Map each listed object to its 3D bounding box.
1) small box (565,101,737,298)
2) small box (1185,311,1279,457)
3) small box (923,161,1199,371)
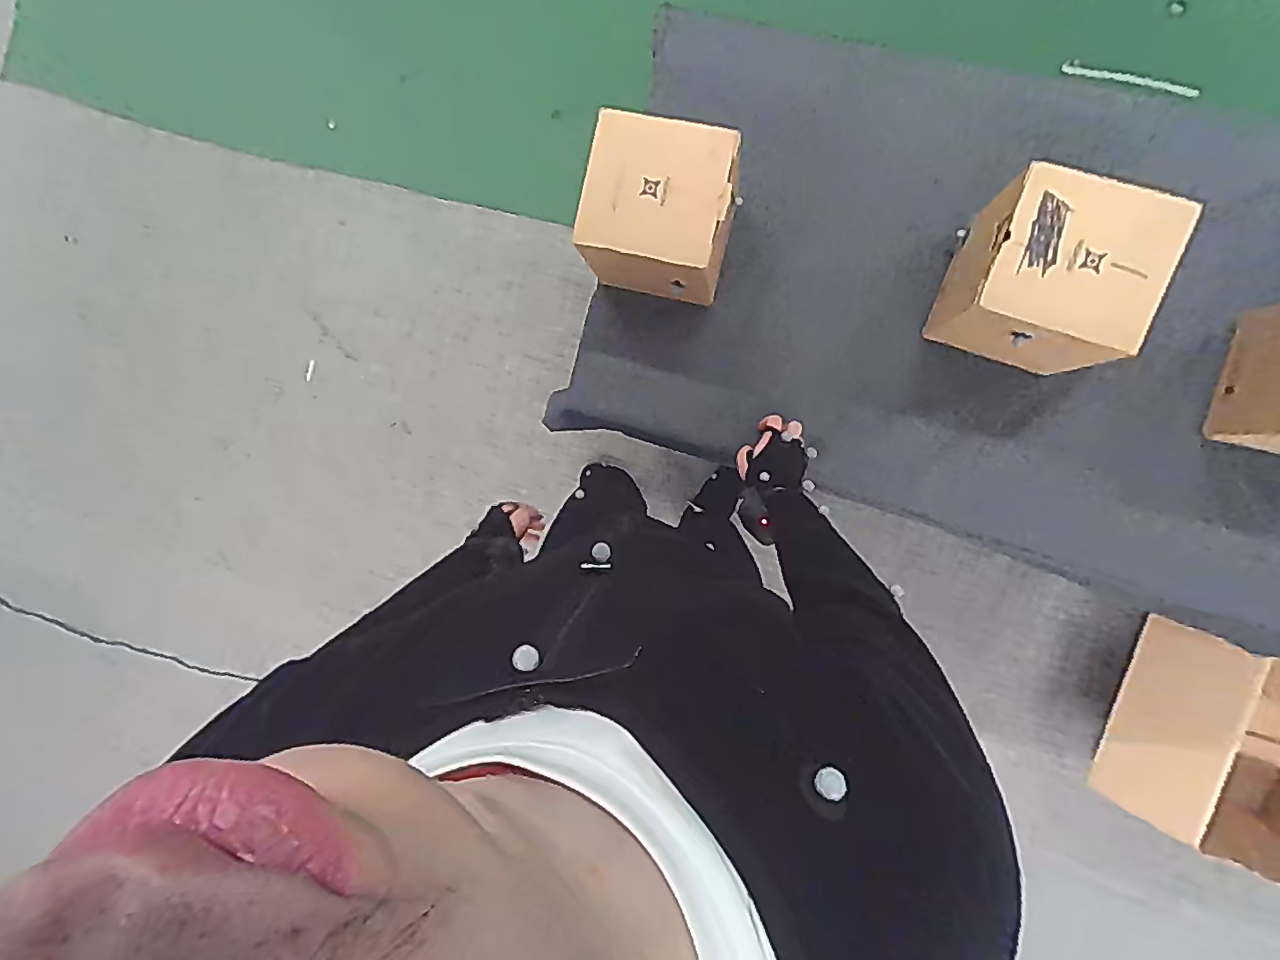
[{"bbox_3d":[0.023,-0.352,0.711,0.179,0.176,0.168,14,95,8],"label":"small box"},{"bbox_3d":[0.824,-0.110,0.635,0.179,0.176,0.168,12,97,9],"label":"small box"},{"bbox_3d":[0.483,-0.243,0.659,0.179,0.176,0.168,24,99,7],"label":"small box"}]
